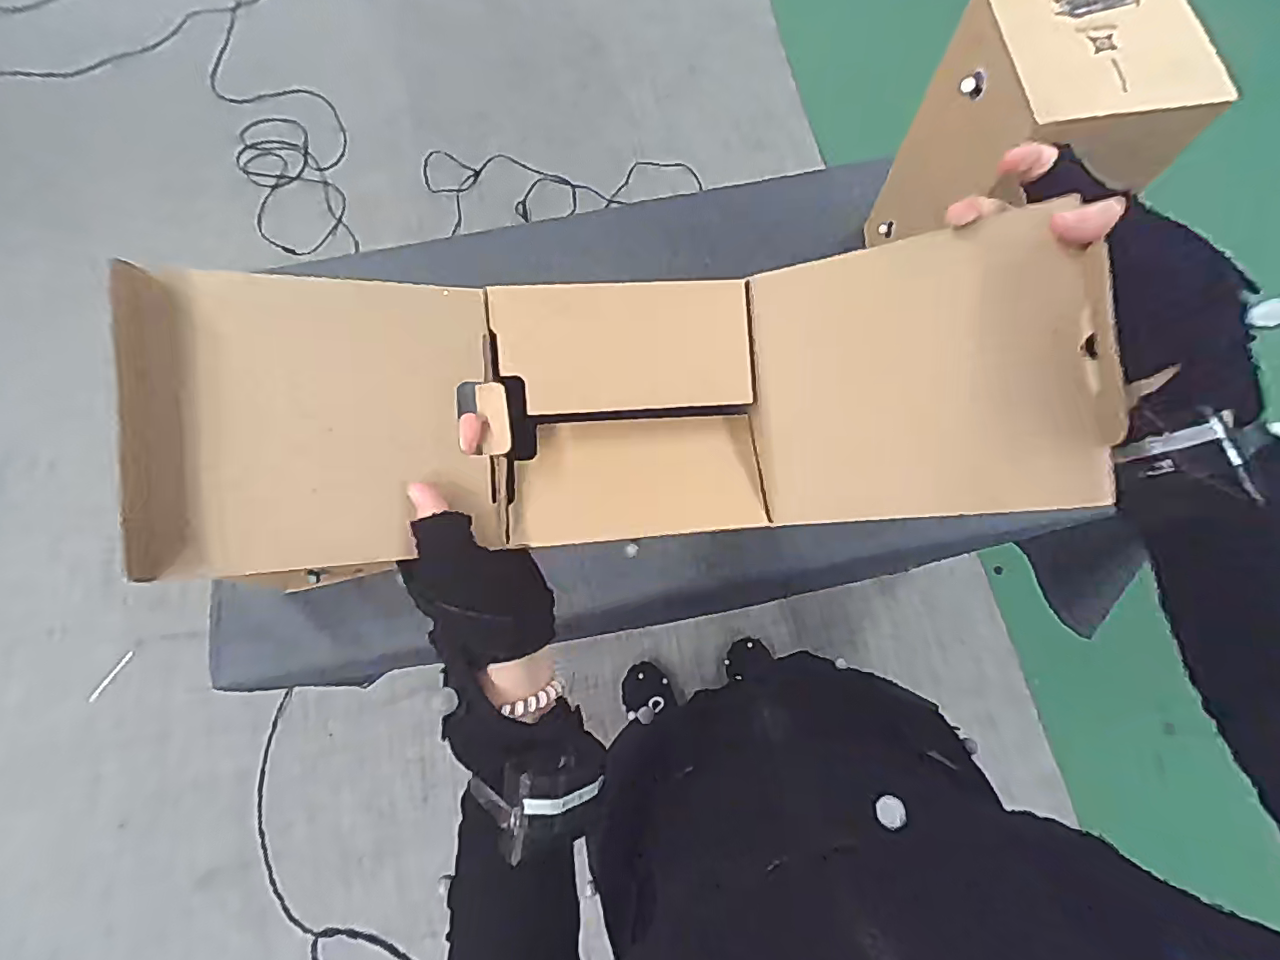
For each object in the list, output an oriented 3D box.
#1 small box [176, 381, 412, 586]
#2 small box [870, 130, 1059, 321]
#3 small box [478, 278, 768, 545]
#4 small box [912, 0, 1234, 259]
[{"bbox_3d":[-0.385,0.013,0.630,0.168,0.176,0.179,-13,72,-2],"label":"small box"},{"bbox_3d":[0.416,-0.324,0.706,0.179,0.176,0.168,1,73,3],"label":"small box"},{"bbox_3d":[-0.019,-0.041,0.417,0.179,0.176,0.168,-4,88,-9],"label":"small box"},{"bbox_3d":[0.402,-0.355,0.544,0.168,0.176,0.179,-5,73,1],"label":"small box"}]
